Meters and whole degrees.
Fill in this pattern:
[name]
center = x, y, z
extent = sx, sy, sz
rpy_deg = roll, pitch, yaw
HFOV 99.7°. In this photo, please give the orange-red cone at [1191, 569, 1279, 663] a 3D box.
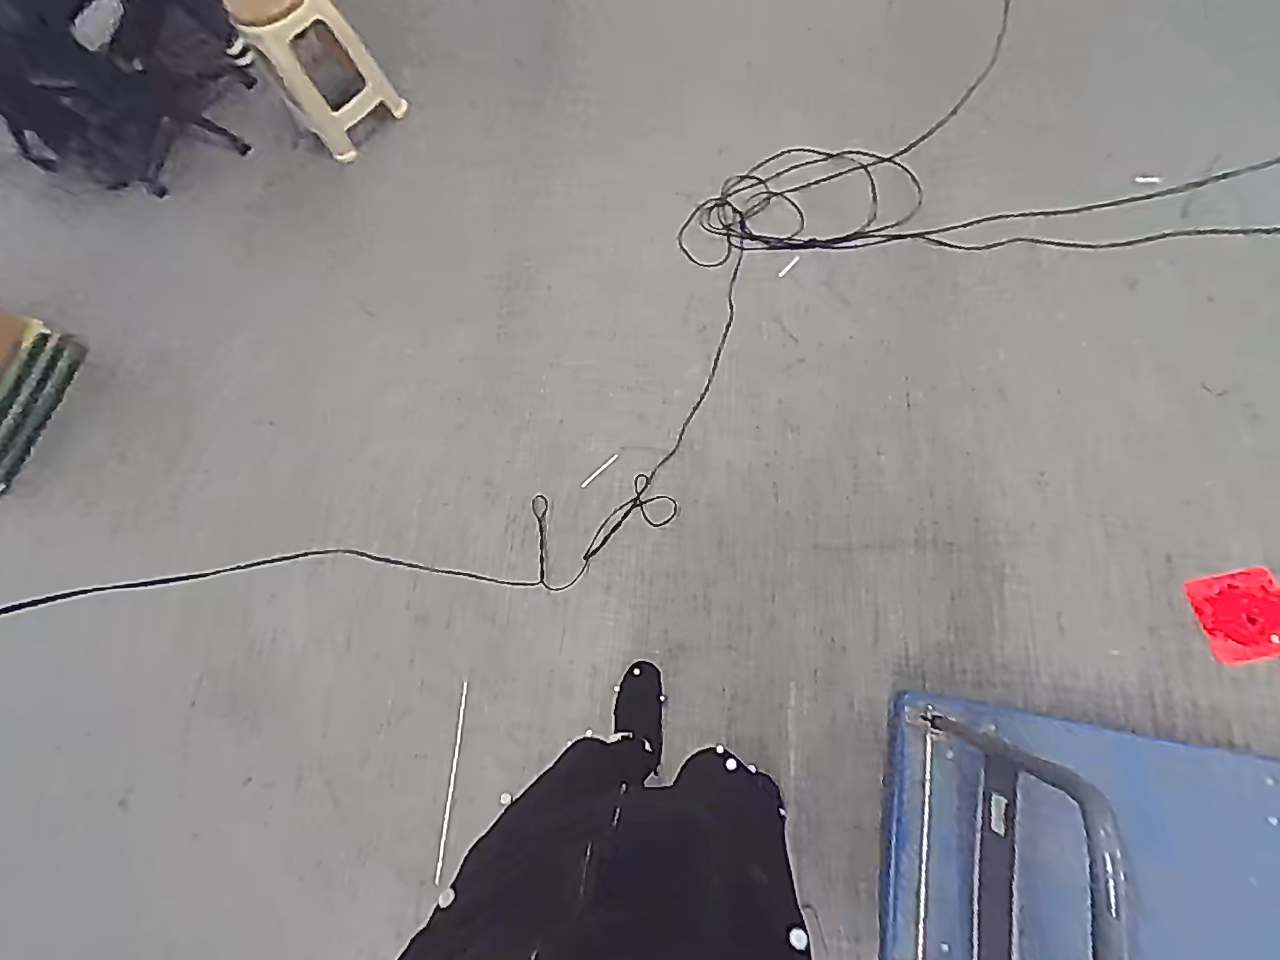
[orange-red cone]
center = 1.413, 0.270, 1.112
extent = 0.198, 0.360, 0.199
rpy_deg = -11, 72, 4
